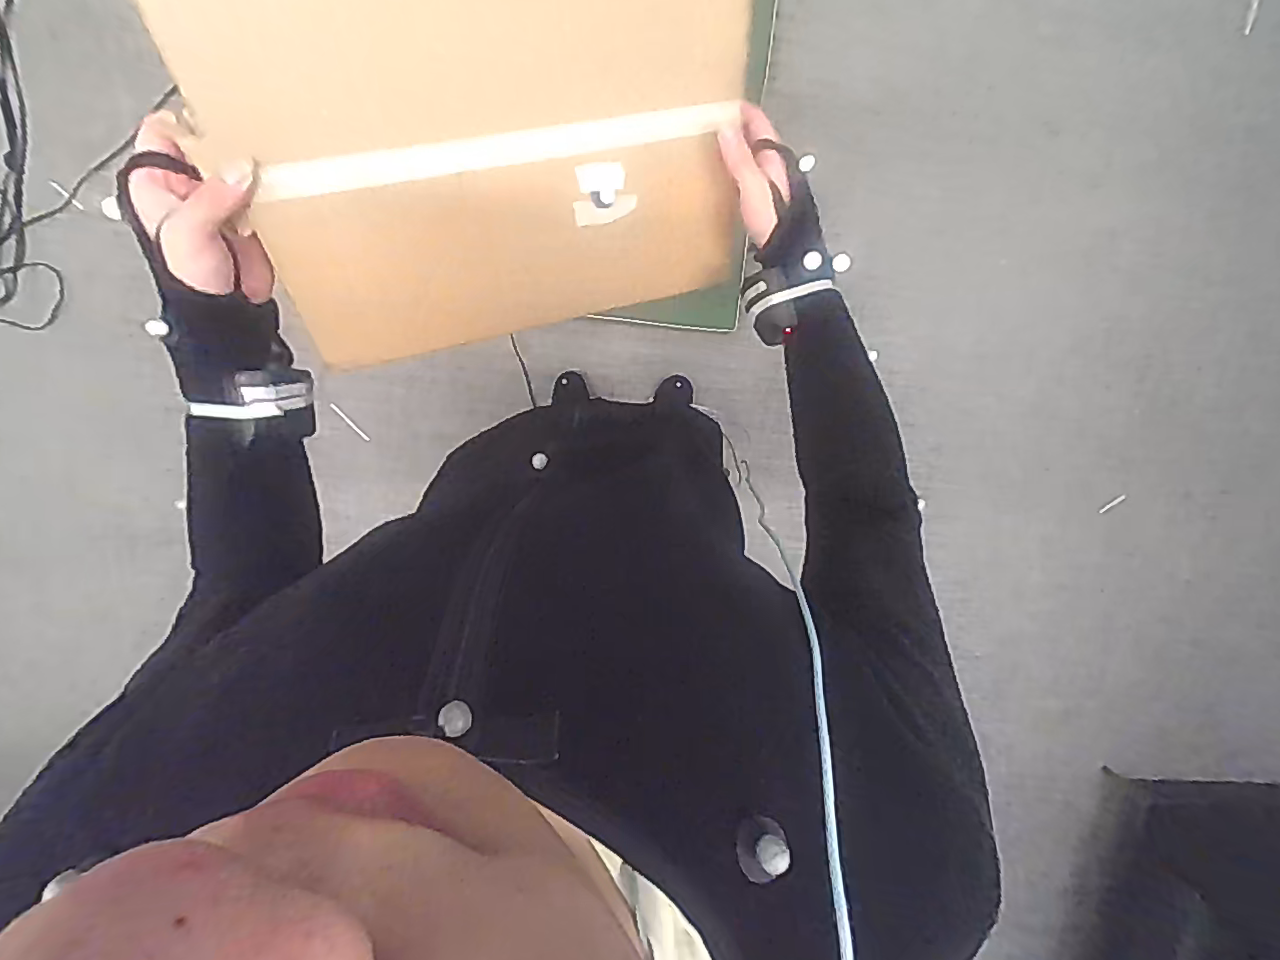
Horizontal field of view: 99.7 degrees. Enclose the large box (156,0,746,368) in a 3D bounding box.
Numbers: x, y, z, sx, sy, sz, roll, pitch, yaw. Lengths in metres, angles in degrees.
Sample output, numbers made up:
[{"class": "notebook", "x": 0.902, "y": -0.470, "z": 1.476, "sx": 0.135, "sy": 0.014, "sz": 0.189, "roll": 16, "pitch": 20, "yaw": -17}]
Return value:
[{"class": "large box", "x": -0.153, "y": -0.361, "z": 0.537, "sx": 0.408, "sy": 0.320, "sz": 0.320, "roll": -17, "pitch": 137, "yaw": -14}]
